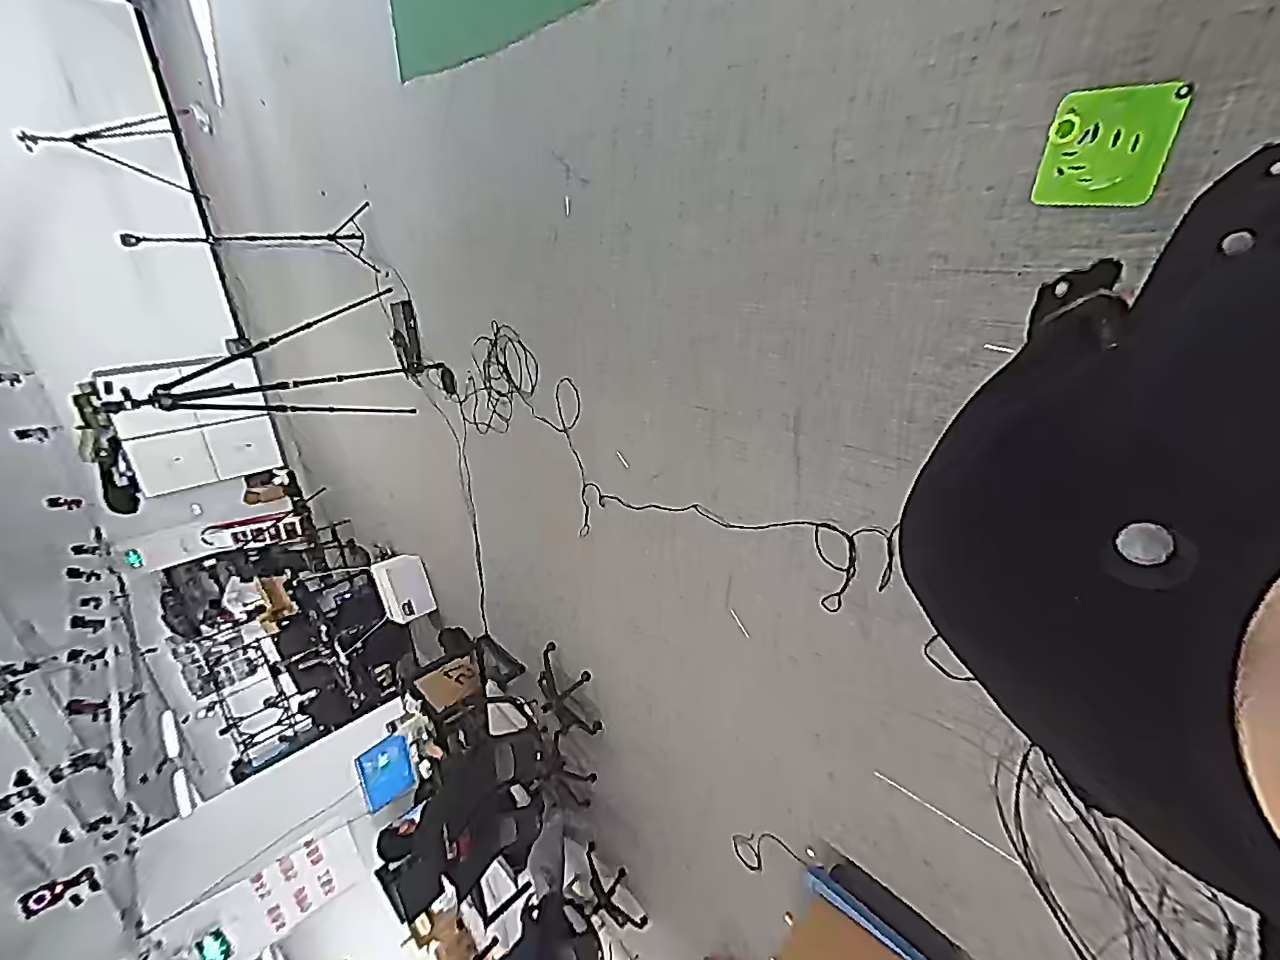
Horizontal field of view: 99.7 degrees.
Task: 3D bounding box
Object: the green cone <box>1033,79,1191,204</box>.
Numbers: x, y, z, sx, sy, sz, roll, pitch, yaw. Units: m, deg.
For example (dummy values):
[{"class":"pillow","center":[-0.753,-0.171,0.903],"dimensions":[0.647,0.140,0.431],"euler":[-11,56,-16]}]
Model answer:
[{"class":"green cone","center":[0.788,-0.602,0.954],"dimensions":[0.200,0.368,0.202],"euler":[25,126,41]}]
